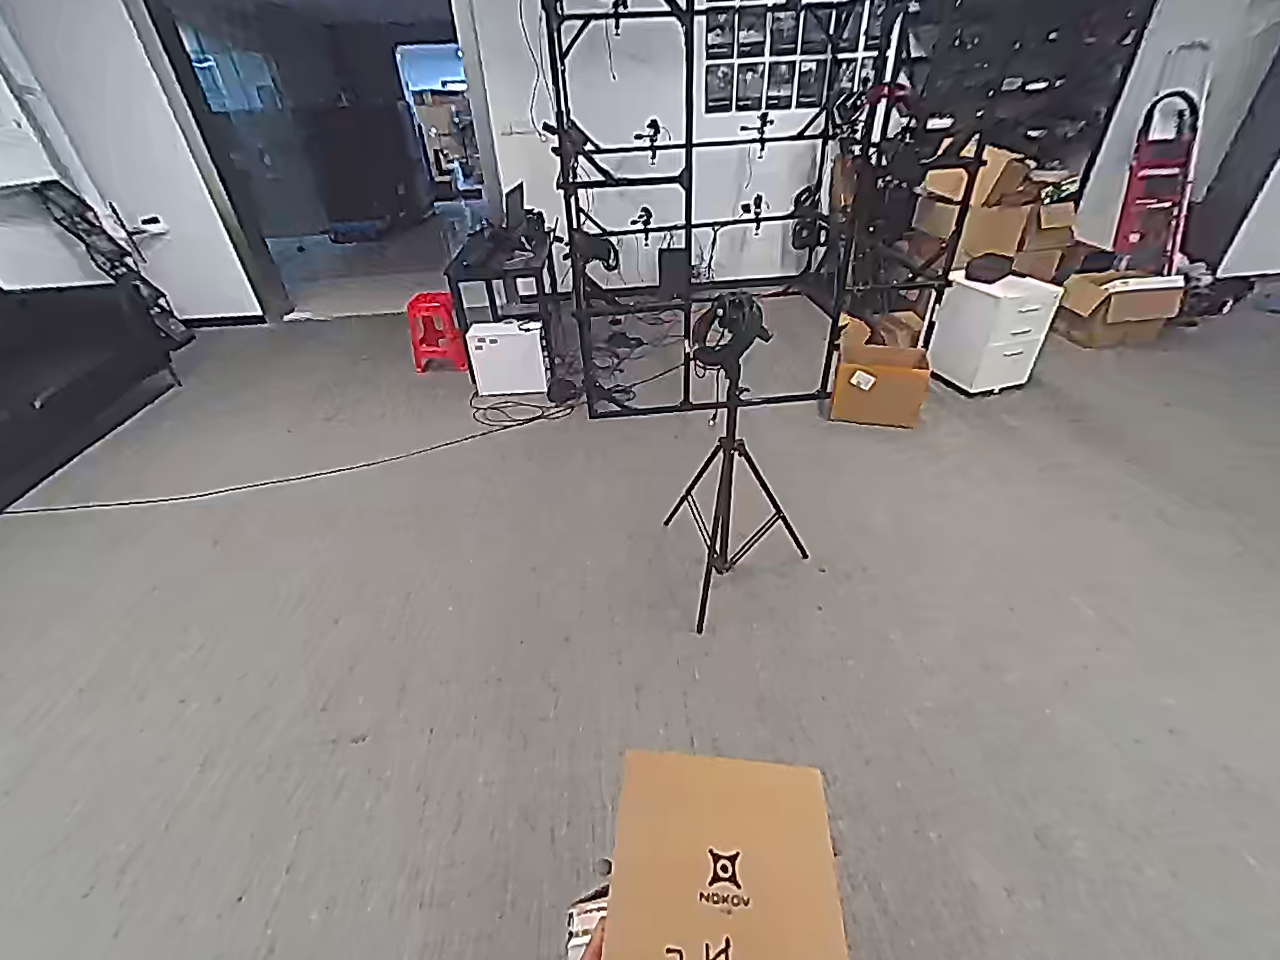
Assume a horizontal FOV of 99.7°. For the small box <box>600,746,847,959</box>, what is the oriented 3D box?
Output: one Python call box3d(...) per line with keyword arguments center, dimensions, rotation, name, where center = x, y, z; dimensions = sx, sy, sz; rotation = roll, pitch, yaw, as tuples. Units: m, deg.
box3d(center=(0.061, 0.350, 0.444), dimensions=(0.168, 0.176, 0.179), rotation=(3, 40, 5), name="small box")
